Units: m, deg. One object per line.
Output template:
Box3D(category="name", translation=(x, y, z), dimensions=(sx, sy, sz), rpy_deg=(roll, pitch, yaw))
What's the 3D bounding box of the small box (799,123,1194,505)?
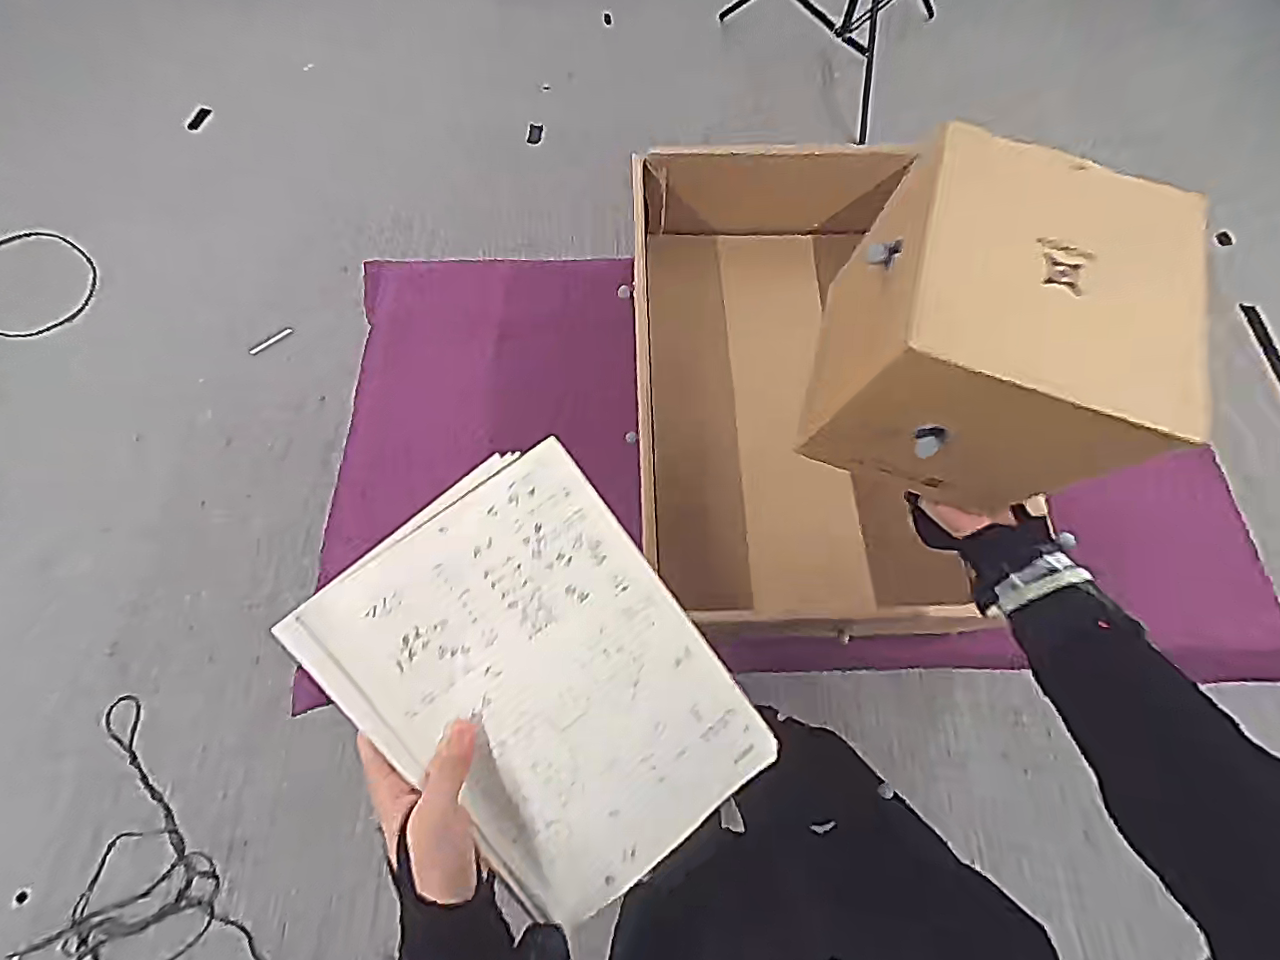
Box3D(category="small box", translation=(0.229, -0.098, 0.386), dimensions=(0.168, 0.176, 0.179), rpy_deg=(18, 72, 1))
